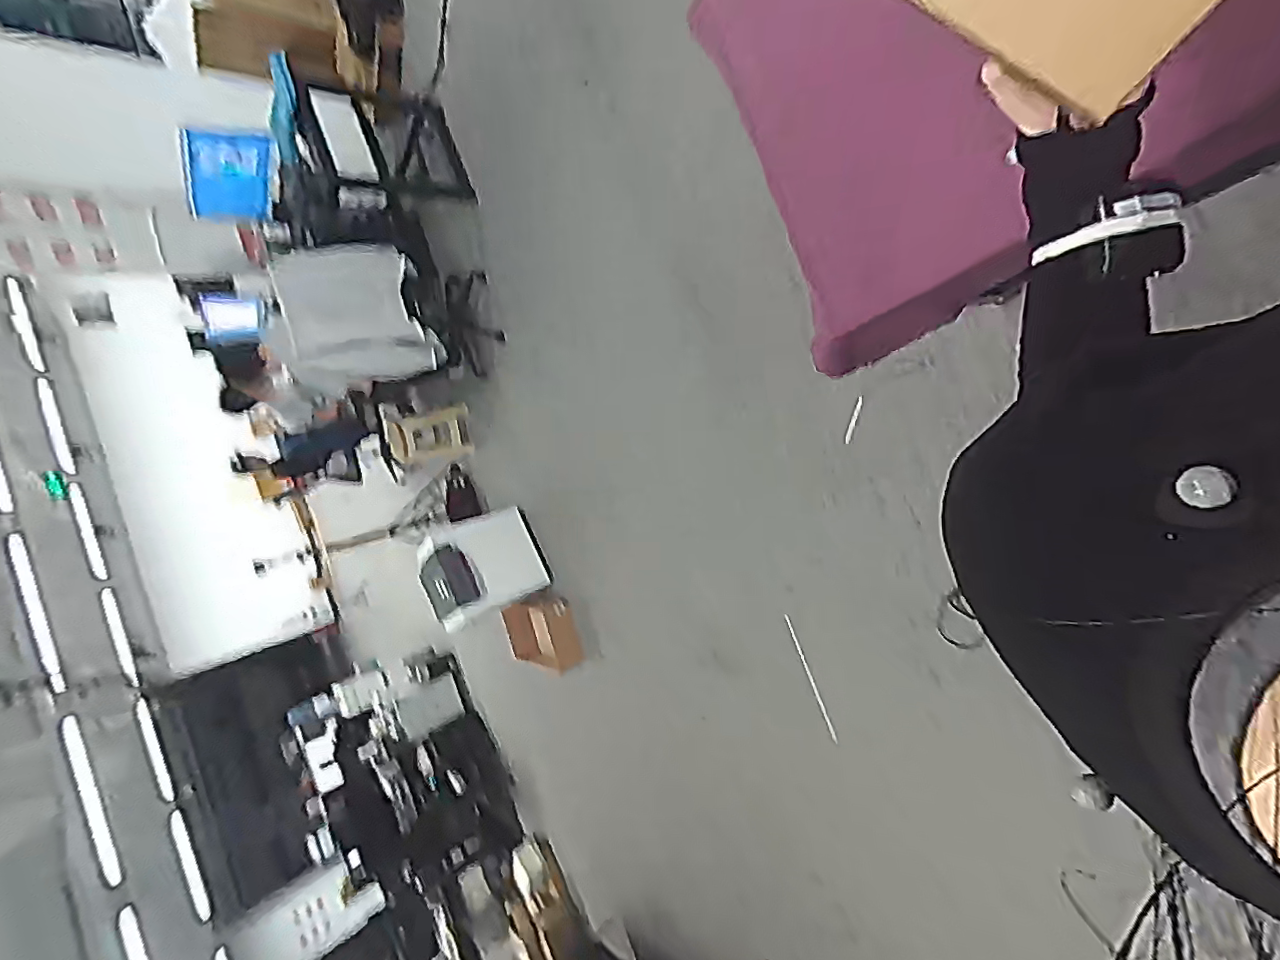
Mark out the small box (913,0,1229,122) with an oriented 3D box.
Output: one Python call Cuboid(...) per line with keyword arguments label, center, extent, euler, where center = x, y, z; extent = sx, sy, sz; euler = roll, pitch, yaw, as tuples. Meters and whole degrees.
Cuboid(label="small box", center=(0.240, -0.330, 0.267), extent=(0.179, 0.168, 0.176), euler=(35, 145, 1))
